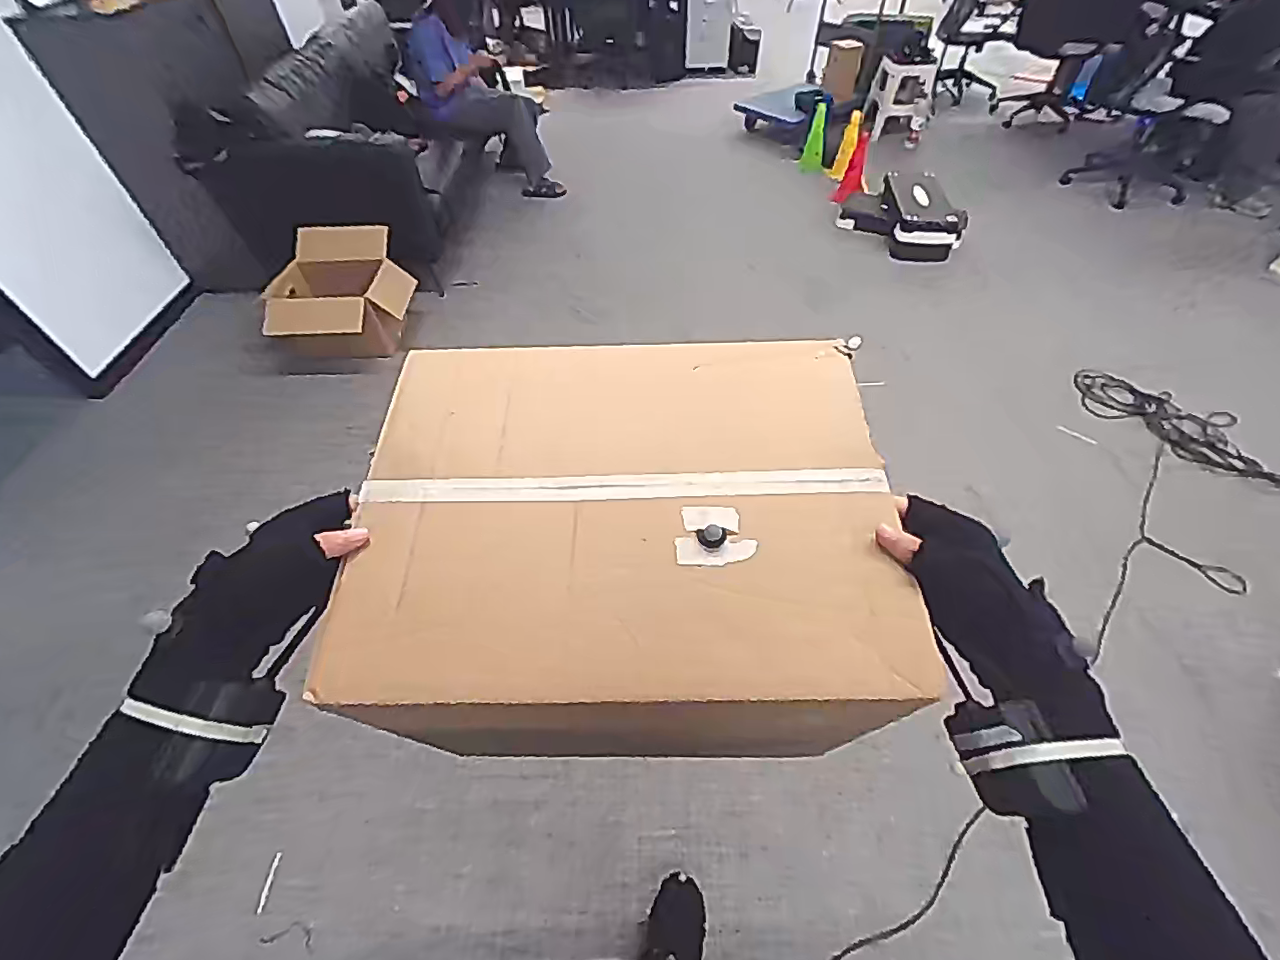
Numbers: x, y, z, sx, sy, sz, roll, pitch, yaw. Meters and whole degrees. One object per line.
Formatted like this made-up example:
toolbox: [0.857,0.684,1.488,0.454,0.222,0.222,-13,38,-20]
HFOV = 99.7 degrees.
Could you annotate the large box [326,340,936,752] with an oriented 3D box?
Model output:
large box: [-0.008,0.083,0.550,0.408,0.320,0.320,-1,58,0]
